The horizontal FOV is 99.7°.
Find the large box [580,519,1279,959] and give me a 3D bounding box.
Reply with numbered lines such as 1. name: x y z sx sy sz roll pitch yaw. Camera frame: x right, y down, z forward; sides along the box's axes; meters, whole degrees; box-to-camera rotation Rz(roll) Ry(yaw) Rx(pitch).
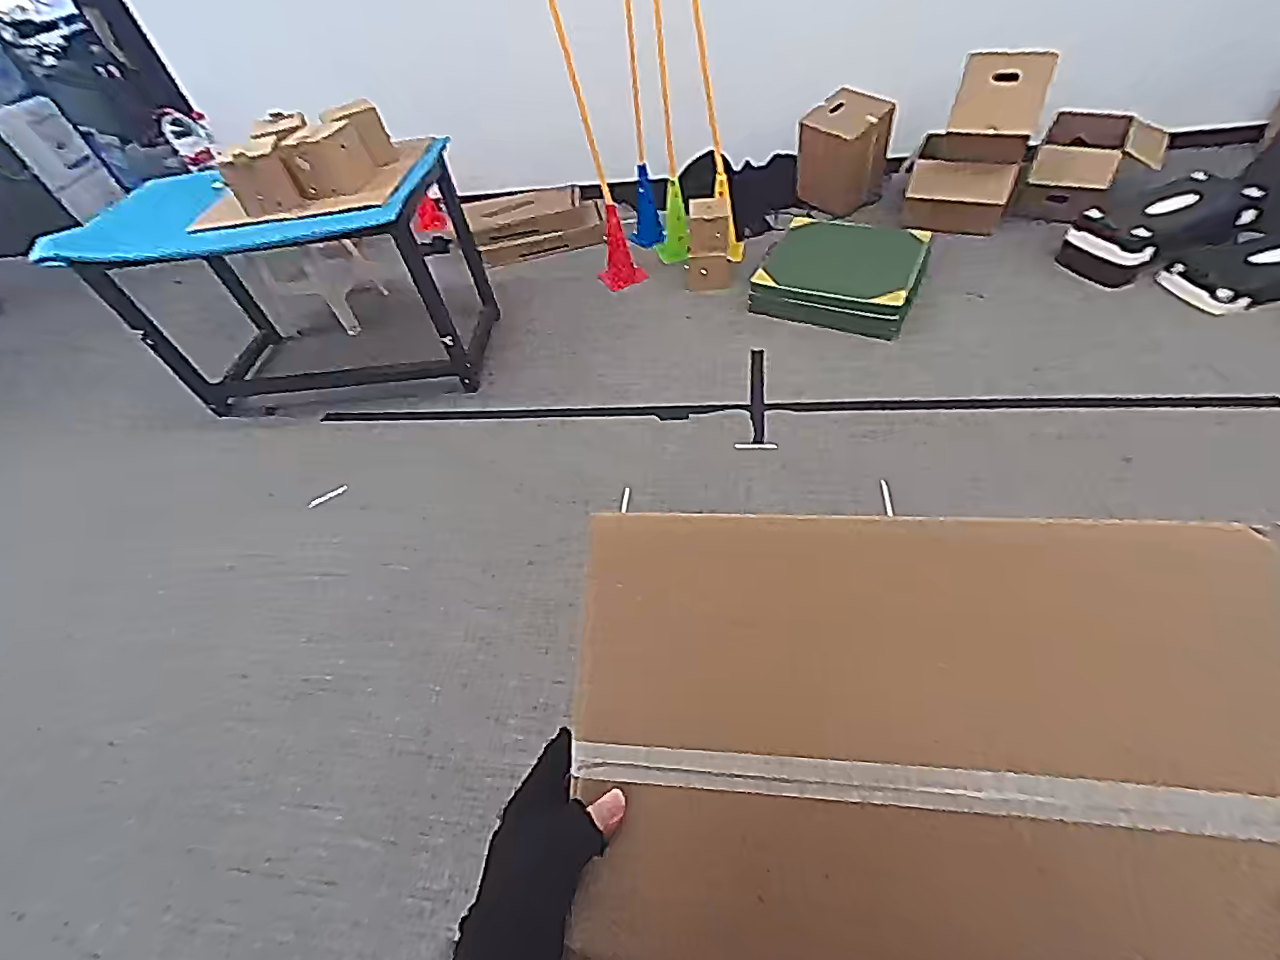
1. large box: 0.185 0.215 0.463 0.408 0.320 0.320 0 76 9
